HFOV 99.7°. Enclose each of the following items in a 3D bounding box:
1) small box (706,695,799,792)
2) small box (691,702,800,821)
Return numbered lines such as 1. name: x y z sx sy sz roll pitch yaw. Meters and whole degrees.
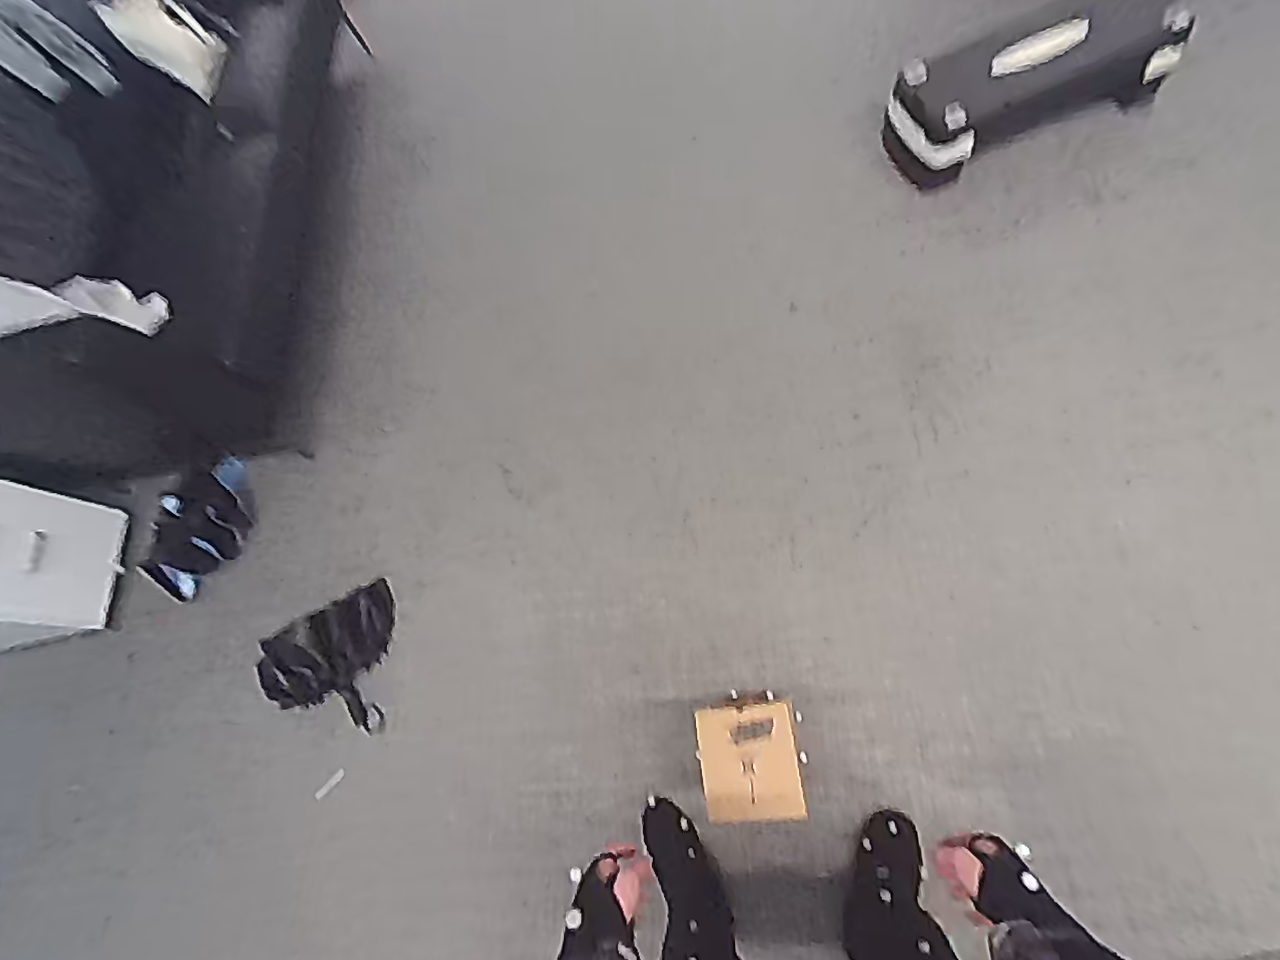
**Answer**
1. small box: 0.239 0.556 1.153 0.168 0.176 0.179 -10 70 12
2. small box: 0.196 0.510 1.001 0.168 0.176 0.179 -10 69 12
